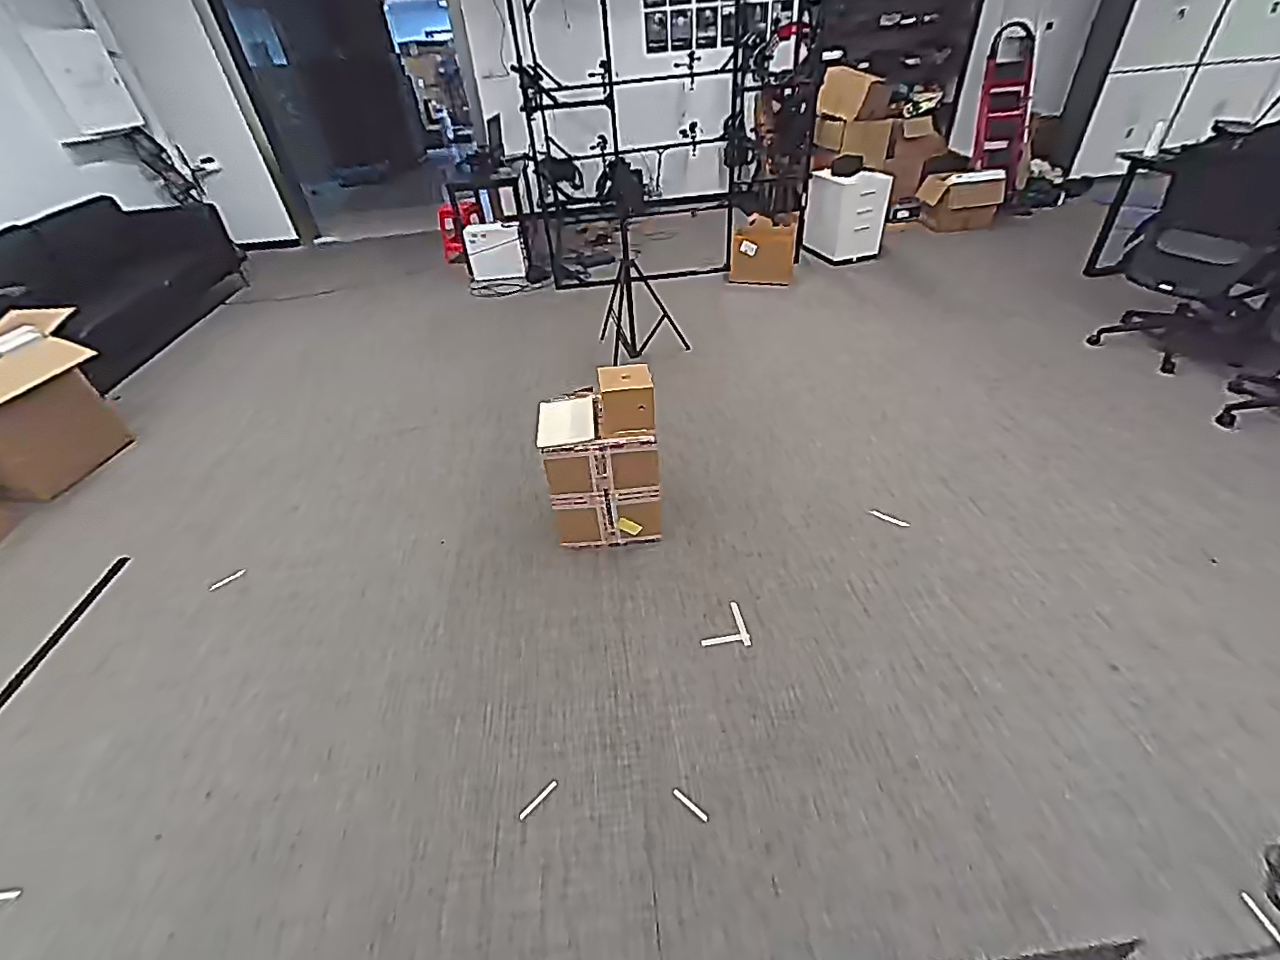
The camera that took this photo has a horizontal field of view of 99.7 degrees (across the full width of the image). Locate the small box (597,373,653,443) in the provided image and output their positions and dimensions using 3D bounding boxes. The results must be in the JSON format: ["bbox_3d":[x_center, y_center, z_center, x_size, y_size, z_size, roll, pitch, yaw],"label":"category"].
[{"bbox_3d":[-0.050,-0.244,1.850,0.179,0.176,0.168,-7,40,-4],"label":"small box"}]
